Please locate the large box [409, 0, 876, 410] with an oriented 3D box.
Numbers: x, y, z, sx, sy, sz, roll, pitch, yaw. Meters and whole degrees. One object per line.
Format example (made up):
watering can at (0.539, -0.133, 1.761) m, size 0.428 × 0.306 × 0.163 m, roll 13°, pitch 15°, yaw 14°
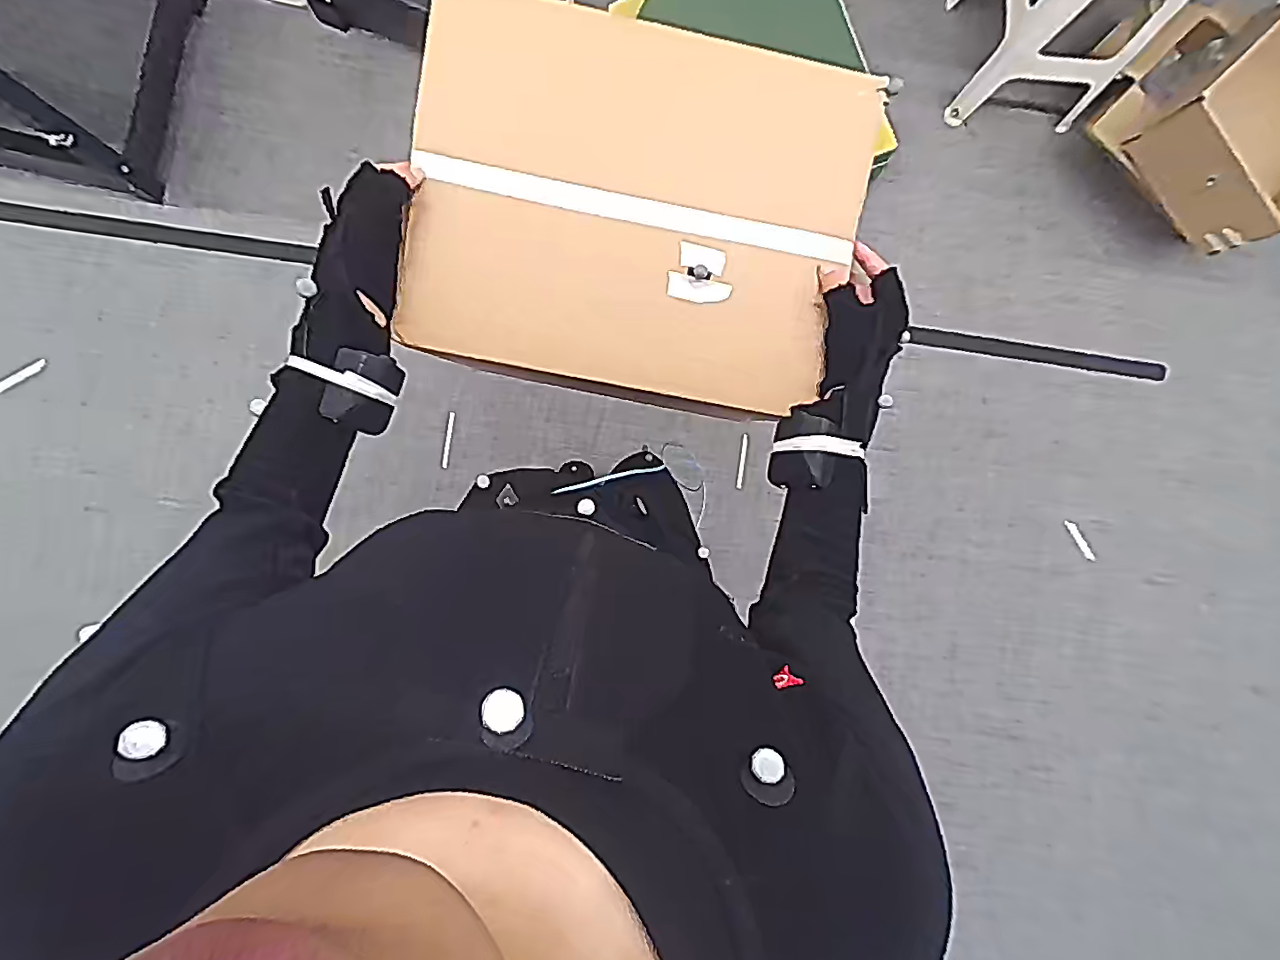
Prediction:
large box at (-0.008, -0.271, 0.653) m, size 0.408 × 0.320 × 0.320 m, roll 11°, pitch 97°, yaw -4°
